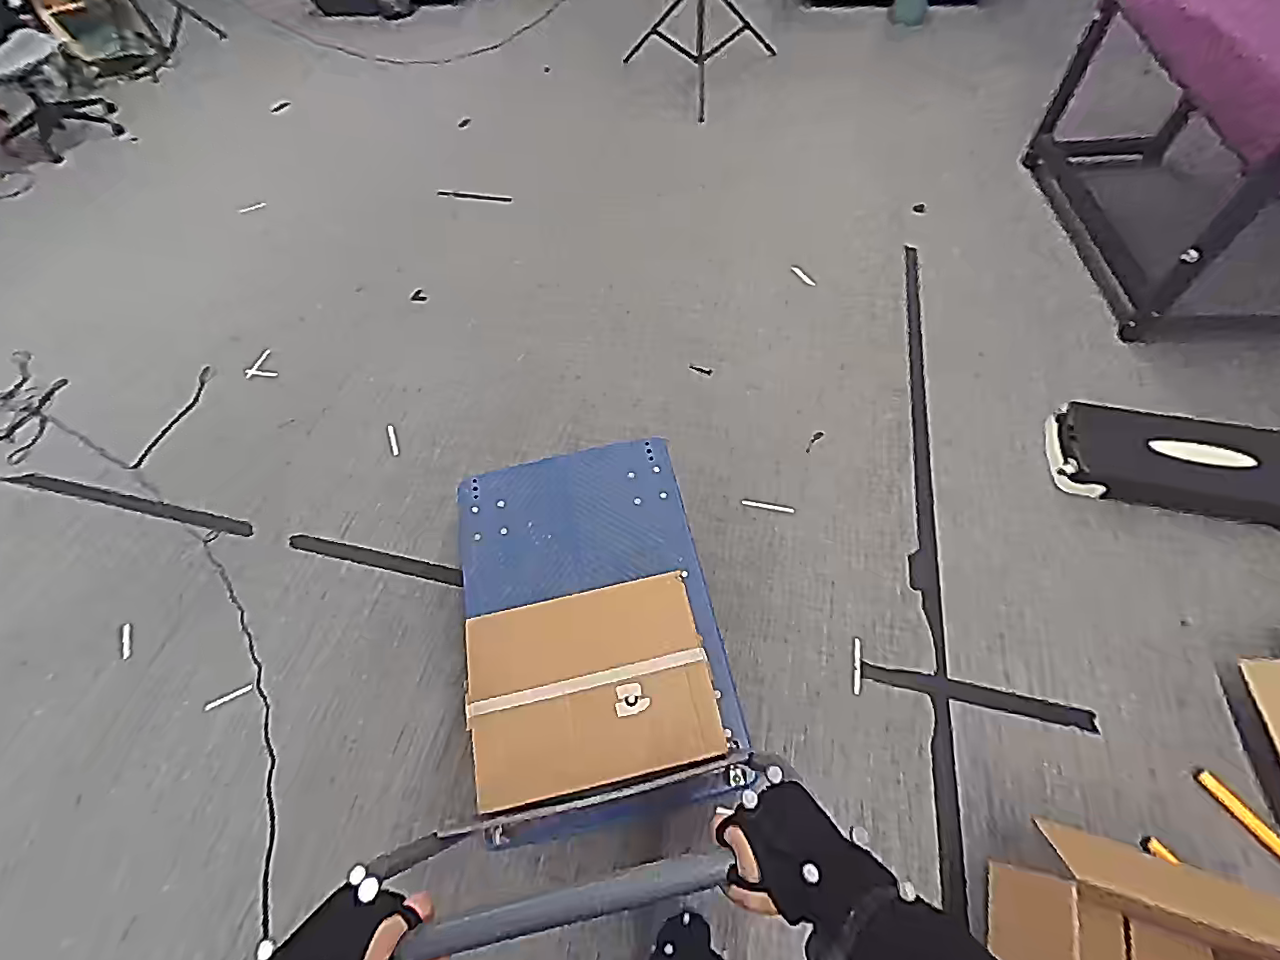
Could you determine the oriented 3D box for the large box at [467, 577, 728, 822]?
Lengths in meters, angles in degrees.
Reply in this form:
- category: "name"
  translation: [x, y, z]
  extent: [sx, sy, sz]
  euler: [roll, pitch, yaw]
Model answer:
- category: "large box"
  translation: [-0.080, 0.425, 1.042]
  extent: [0.408, 0.320, 0.320]
  euler: [-12, 62, -4]
